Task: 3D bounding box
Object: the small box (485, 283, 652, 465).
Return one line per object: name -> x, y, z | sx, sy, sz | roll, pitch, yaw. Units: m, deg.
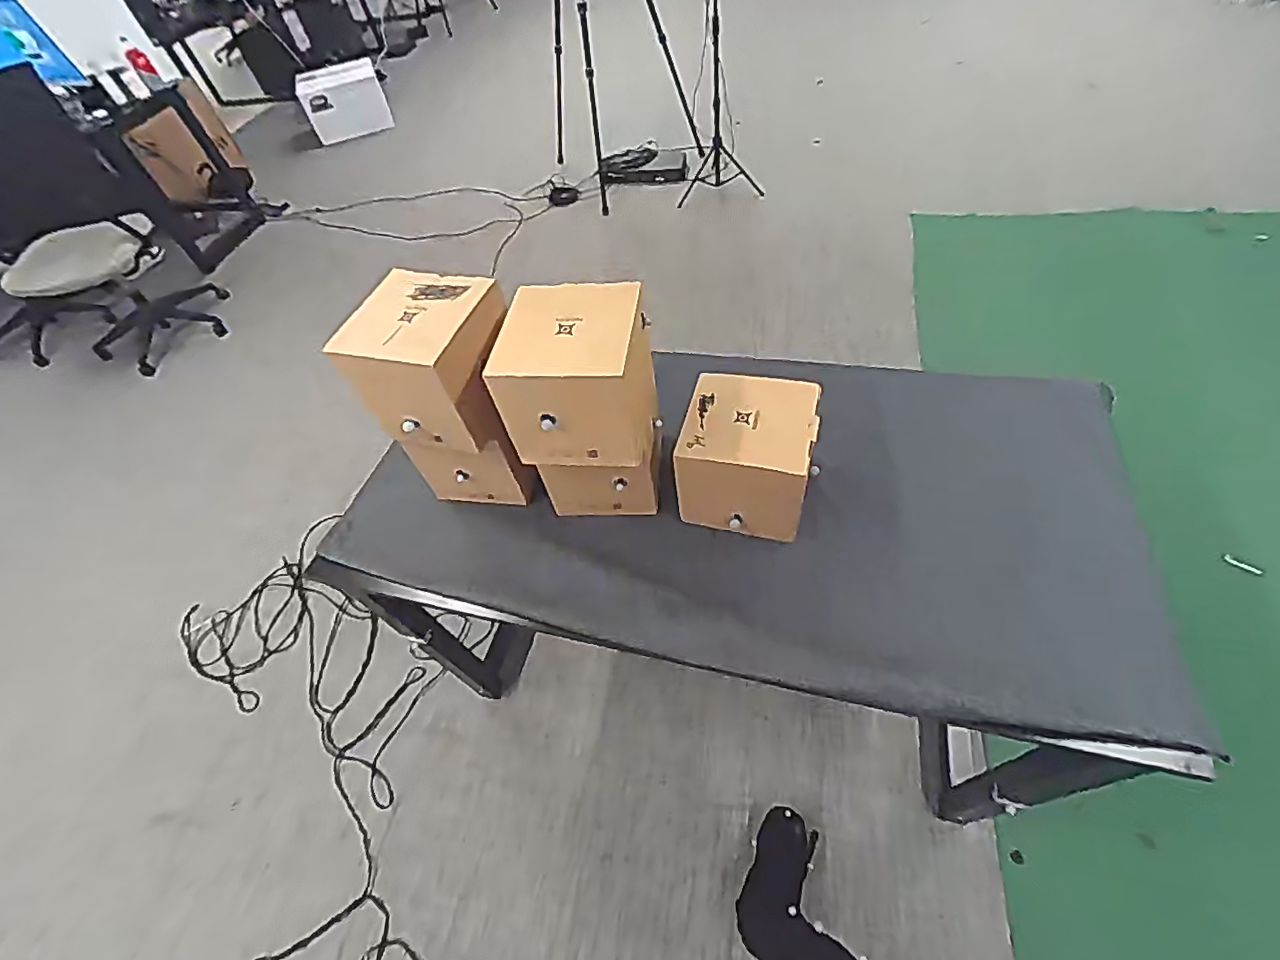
small box -> -0.078, -0.134, 0.711 | 0.168, 0.176, 0.179 | 2, 53, 9
